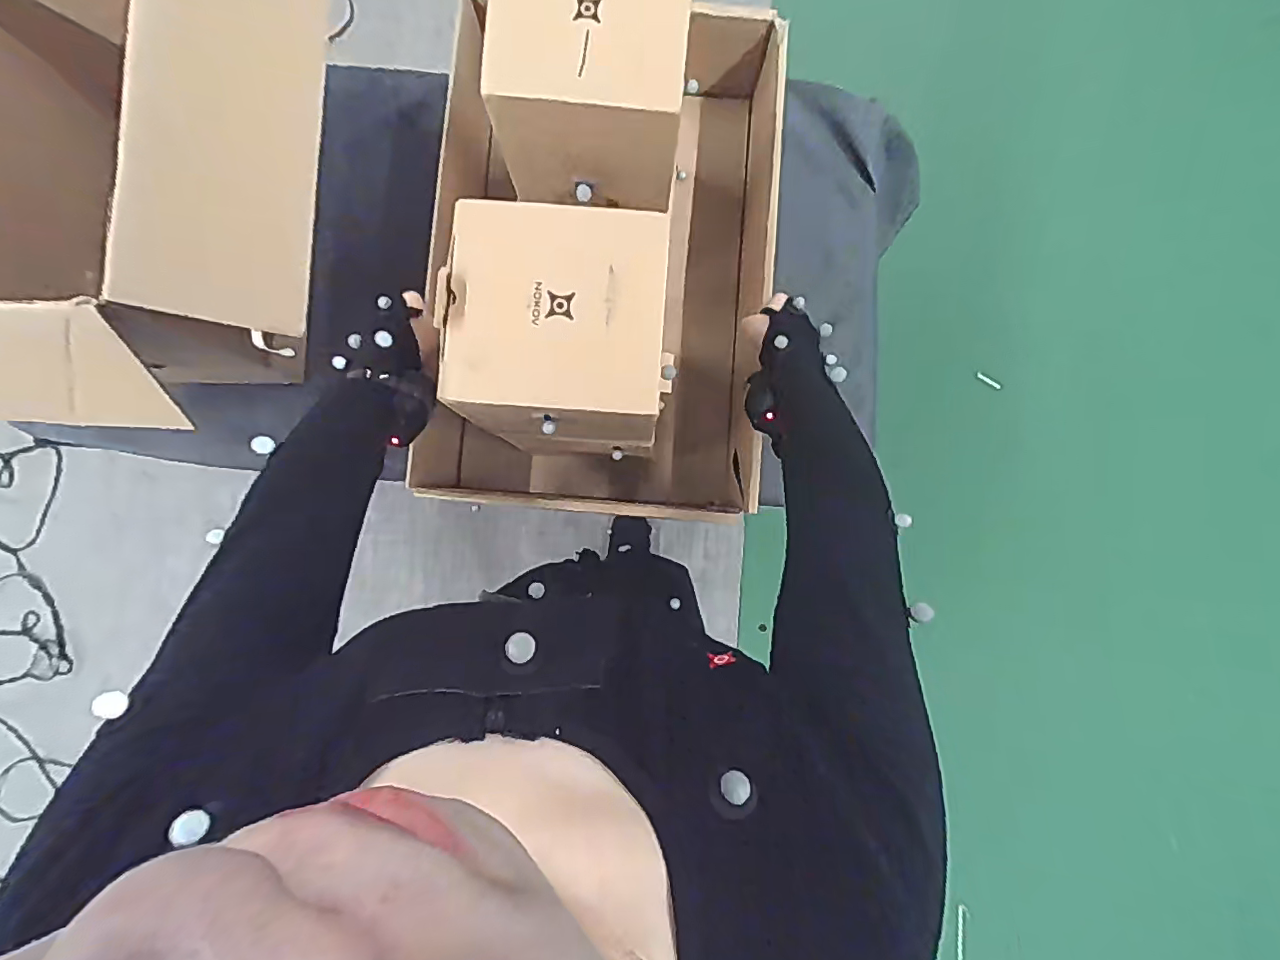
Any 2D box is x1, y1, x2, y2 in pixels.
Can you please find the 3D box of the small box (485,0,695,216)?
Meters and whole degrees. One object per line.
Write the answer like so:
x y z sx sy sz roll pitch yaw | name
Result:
-0.041 -0.390 0.526 0.168 0.176 0.179 6 90 -2 | small box

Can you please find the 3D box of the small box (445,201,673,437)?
-0.067 -0.136 0.517 0.179 0.176 0.168 4 87 -2 | small box
